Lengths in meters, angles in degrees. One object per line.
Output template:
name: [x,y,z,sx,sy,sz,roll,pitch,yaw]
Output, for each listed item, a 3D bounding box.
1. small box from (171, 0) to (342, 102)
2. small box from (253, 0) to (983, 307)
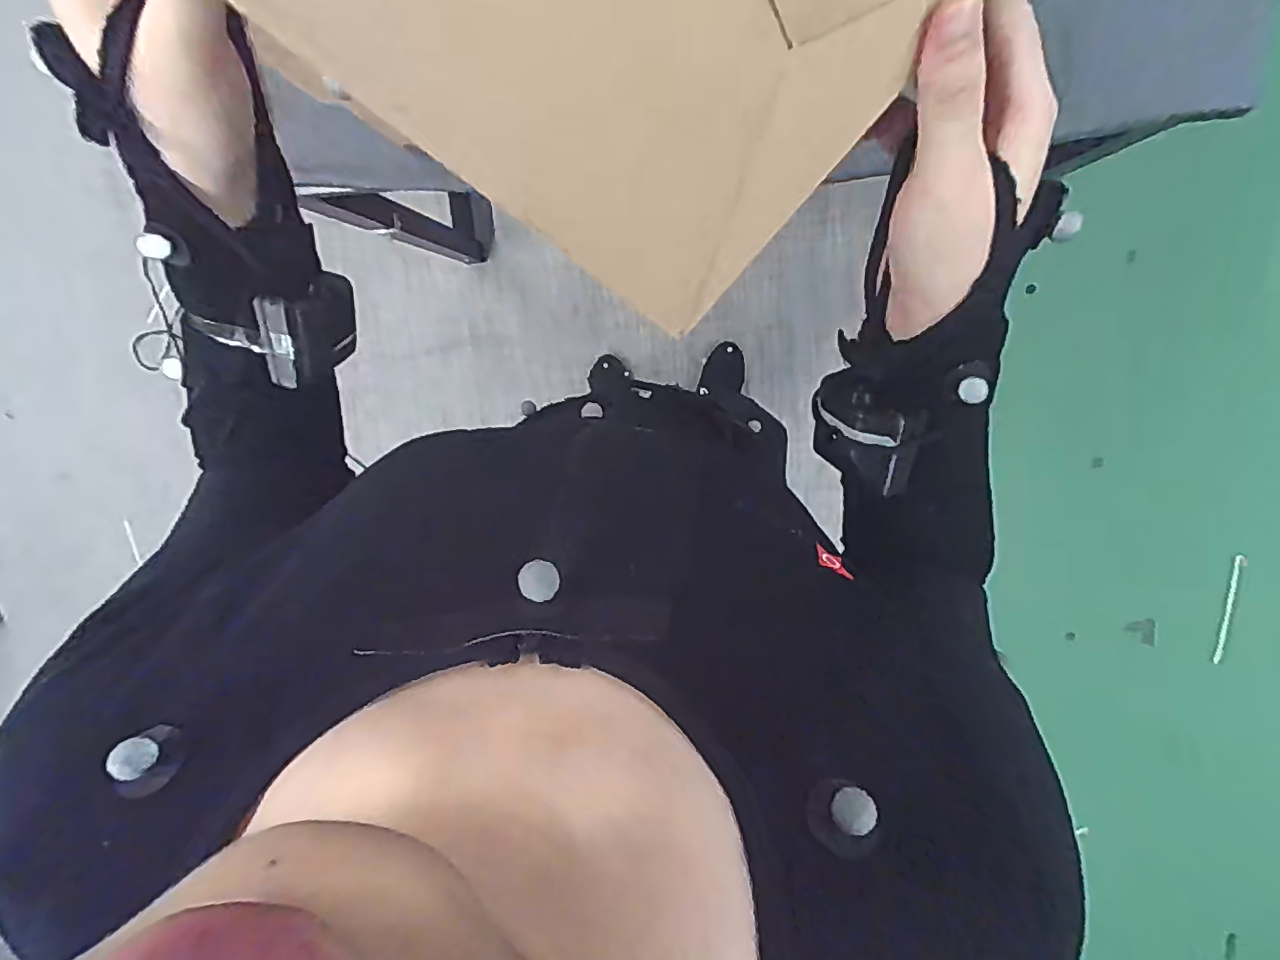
small box: [-0.223,-0.416,0.411,0.179,0.176,0.168,0,105,6]
small box: [-0.013,-0.184,0.177,0.179,0.168,0.176,-45,60,19]
